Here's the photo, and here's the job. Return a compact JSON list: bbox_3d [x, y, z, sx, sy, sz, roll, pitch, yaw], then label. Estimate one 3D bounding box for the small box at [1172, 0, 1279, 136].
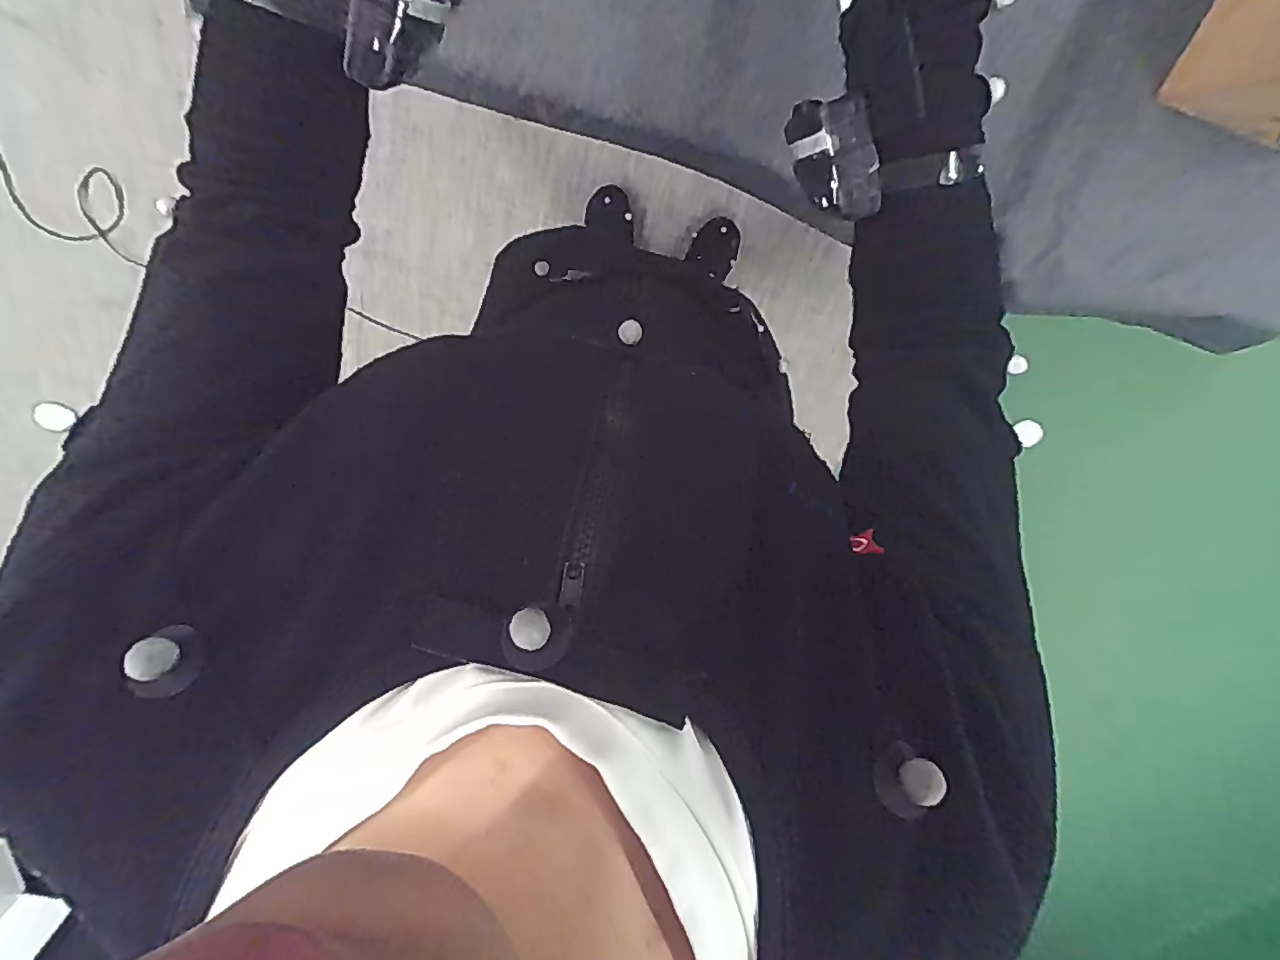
[{"bbox_3d":[0.591,-0.388,0.423,0.168,0.176,0.179,14,121,-7],"label":"small box"}]
